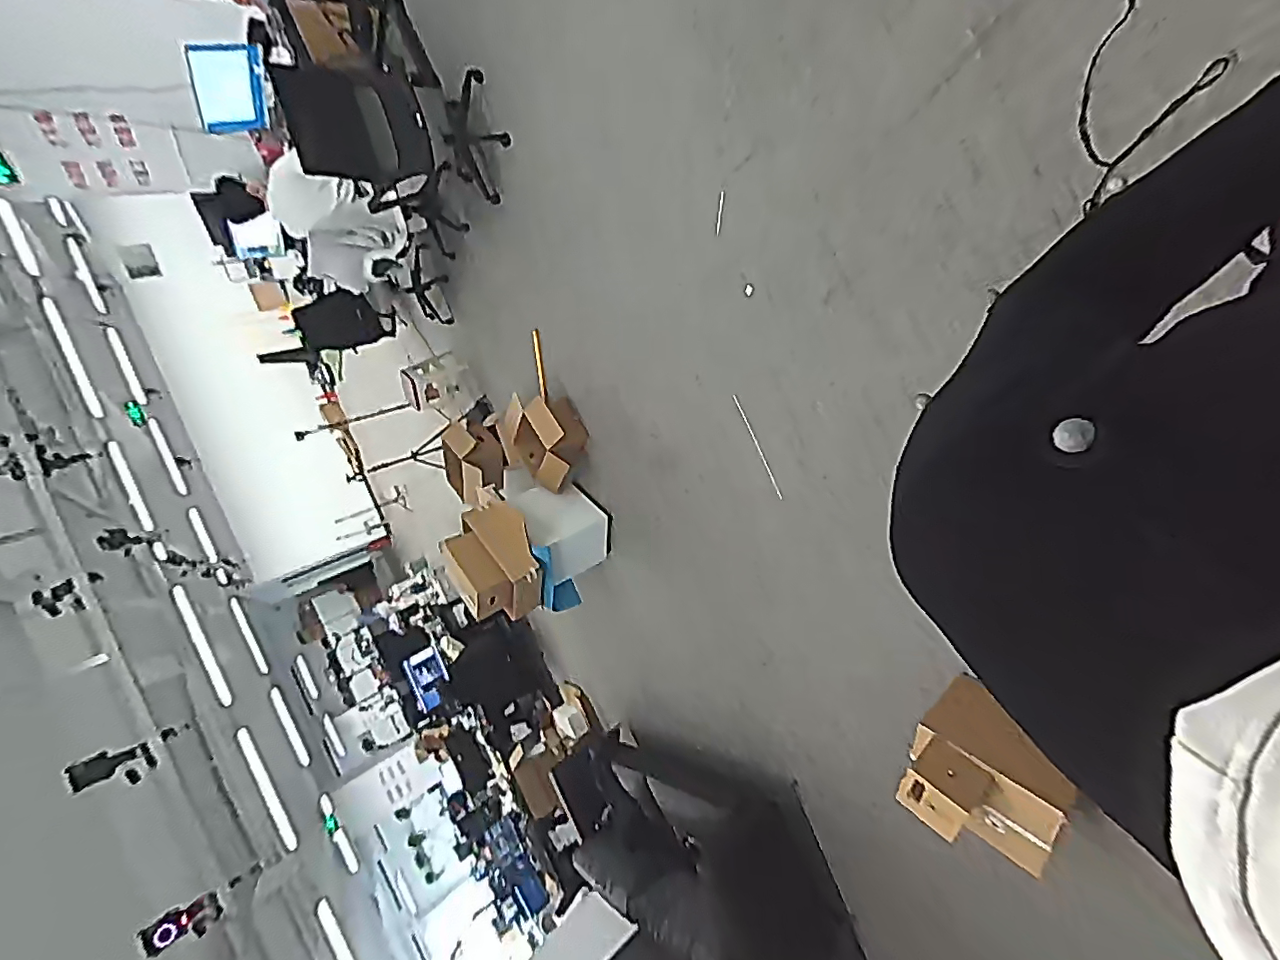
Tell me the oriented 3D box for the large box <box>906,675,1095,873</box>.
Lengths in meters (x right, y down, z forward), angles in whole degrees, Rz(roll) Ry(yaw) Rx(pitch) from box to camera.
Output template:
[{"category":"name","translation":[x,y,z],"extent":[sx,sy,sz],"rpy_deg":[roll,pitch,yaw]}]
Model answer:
[{"category":"large box","translation":[1.141,0.917,1.743],"extent":[0.408,0.320,0.320],"rpy_deg":[24,130,45]}]
